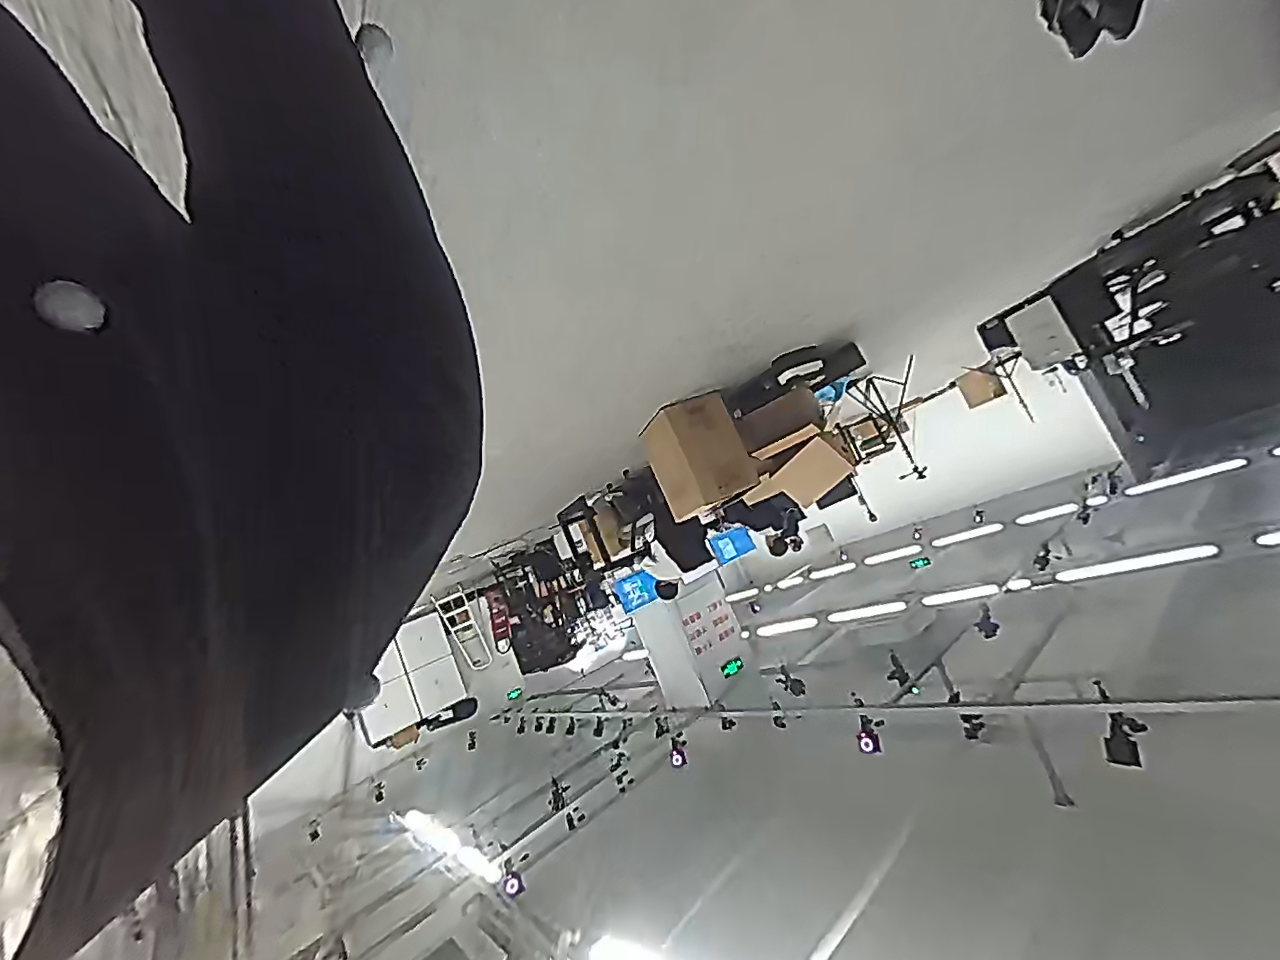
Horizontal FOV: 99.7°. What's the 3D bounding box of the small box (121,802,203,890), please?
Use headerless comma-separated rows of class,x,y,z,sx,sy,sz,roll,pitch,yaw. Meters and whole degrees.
small box,-1.614,1.226,1.827,0.179,0.176,0.168,-17,171,-37
